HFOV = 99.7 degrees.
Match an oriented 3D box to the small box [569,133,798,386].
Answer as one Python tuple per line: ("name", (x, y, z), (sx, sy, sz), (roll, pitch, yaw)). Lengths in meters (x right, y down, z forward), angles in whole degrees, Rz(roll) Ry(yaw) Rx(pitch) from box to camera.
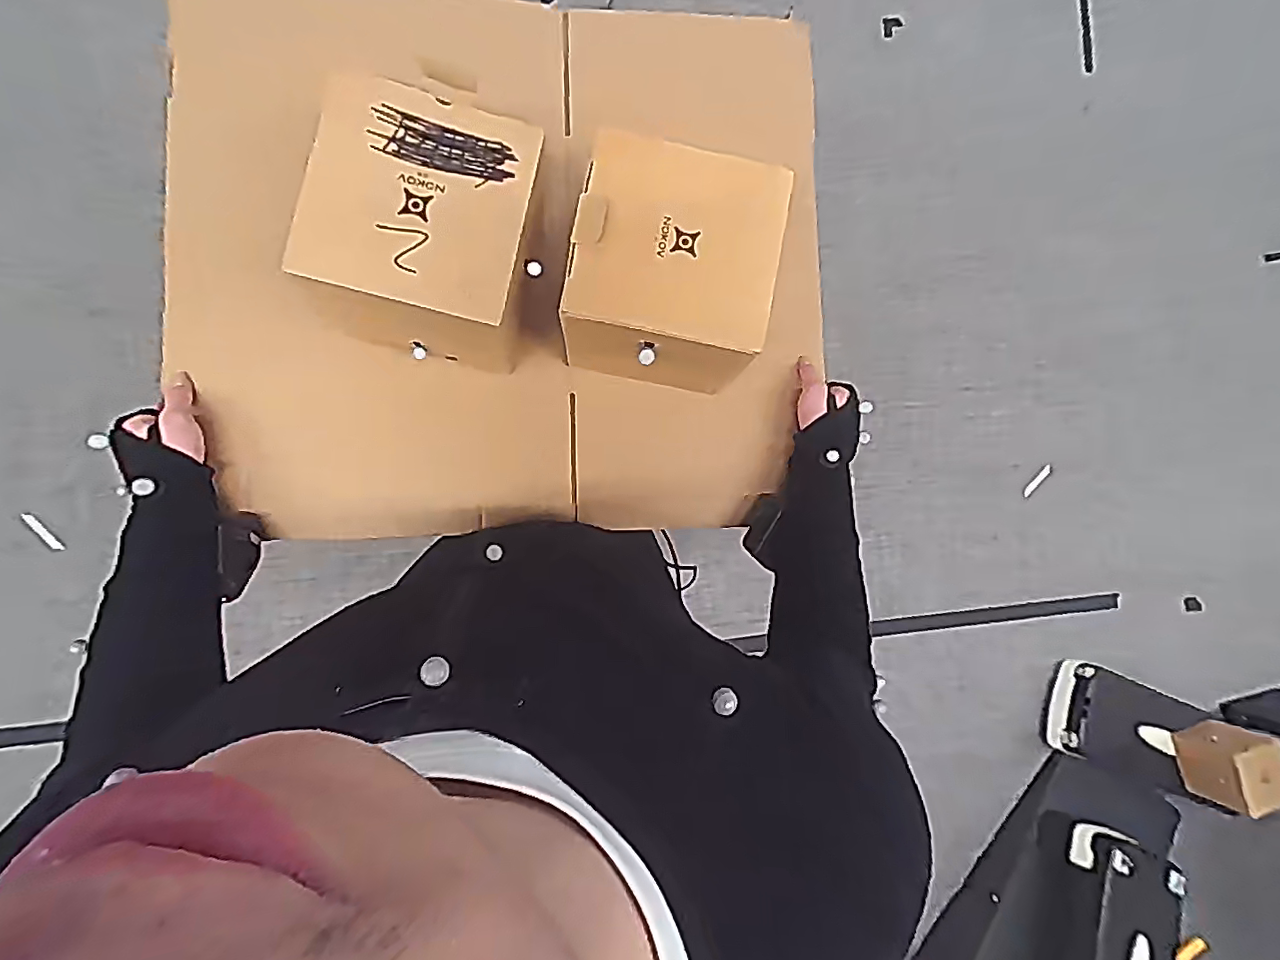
("small box", (0.034, -0.201, 0.548), (0.179, 0.176, 0.168), (12, 87, -3))
